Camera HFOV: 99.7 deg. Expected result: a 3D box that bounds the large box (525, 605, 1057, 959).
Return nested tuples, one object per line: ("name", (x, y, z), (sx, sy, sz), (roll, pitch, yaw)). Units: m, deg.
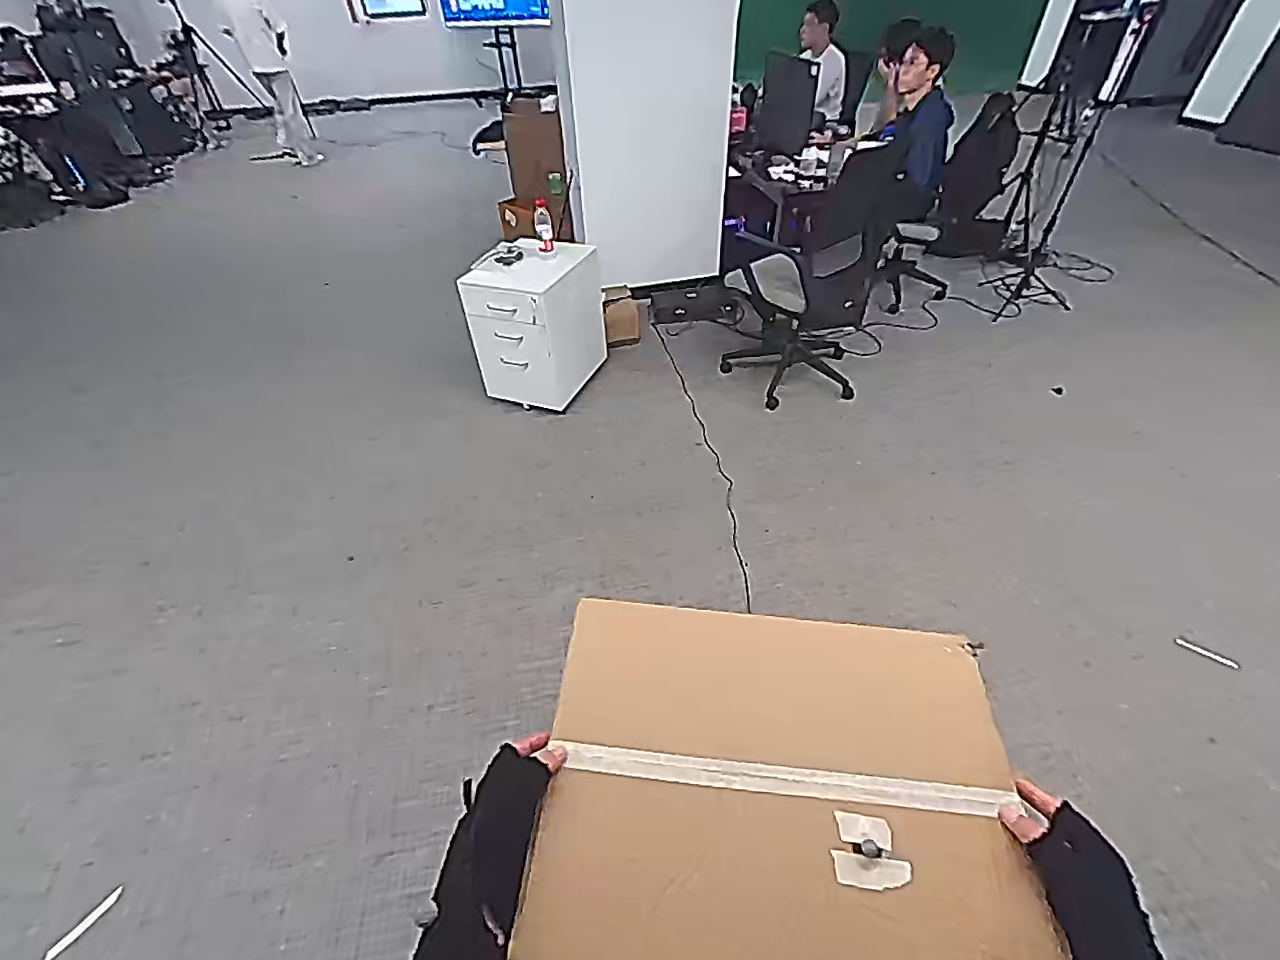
("large box", (0.120, 0.365, 0.592), (0.408, 0.320, 0.320), (6, 48, 3))
